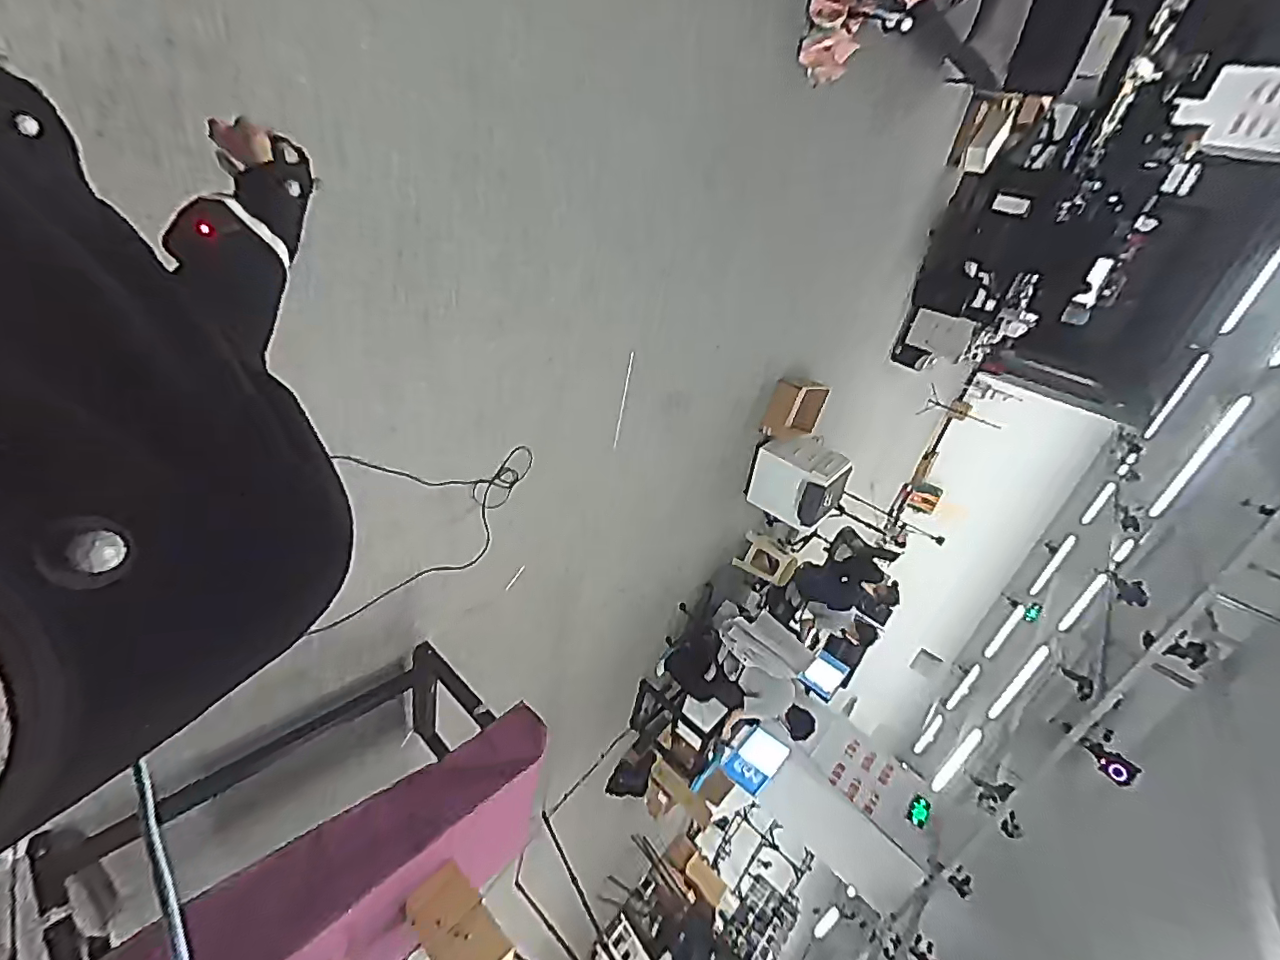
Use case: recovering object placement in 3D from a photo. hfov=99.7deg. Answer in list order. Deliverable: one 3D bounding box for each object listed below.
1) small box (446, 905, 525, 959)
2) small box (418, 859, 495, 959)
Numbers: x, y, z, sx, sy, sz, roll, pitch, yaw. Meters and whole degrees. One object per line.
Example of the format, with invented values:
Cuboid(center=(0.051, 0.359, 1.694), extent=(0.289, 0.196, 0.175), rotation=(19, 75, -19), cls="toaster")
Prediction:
Cuboid(center=(-0.474, 1.456, 1.647), extent=(0.168, 0.176, 0.179), rotation=(-23, 135, -44), cls="small box")
Cuboid(center=(-0.589, 1.375, 1.734), extent=(0.179, 0.176, 0.168), rotation=(-22, 134, -44), cls="small box")
